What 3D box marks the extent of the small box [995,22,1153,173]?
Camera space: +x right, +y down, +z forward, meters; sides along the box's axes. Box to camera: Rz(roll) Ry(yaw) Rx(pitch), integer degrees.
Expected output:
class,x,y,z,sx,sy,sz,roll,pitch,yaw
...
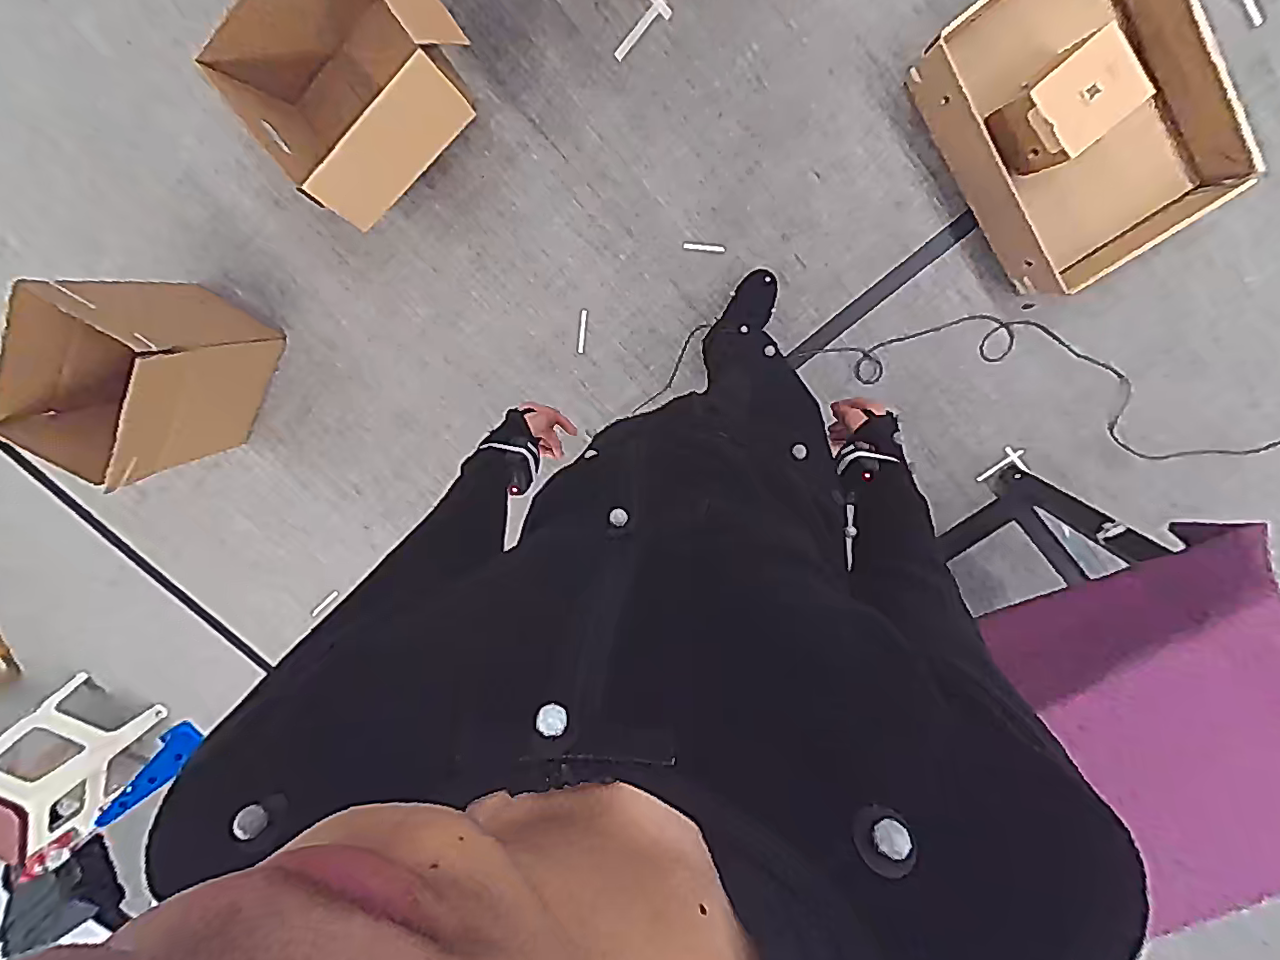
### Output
class,x,y,z,sx,sy,sz,roll,pitch,yaw
small box,0.889,-0.782,1.133,0.179,0.176,0.168,-39,102,17
